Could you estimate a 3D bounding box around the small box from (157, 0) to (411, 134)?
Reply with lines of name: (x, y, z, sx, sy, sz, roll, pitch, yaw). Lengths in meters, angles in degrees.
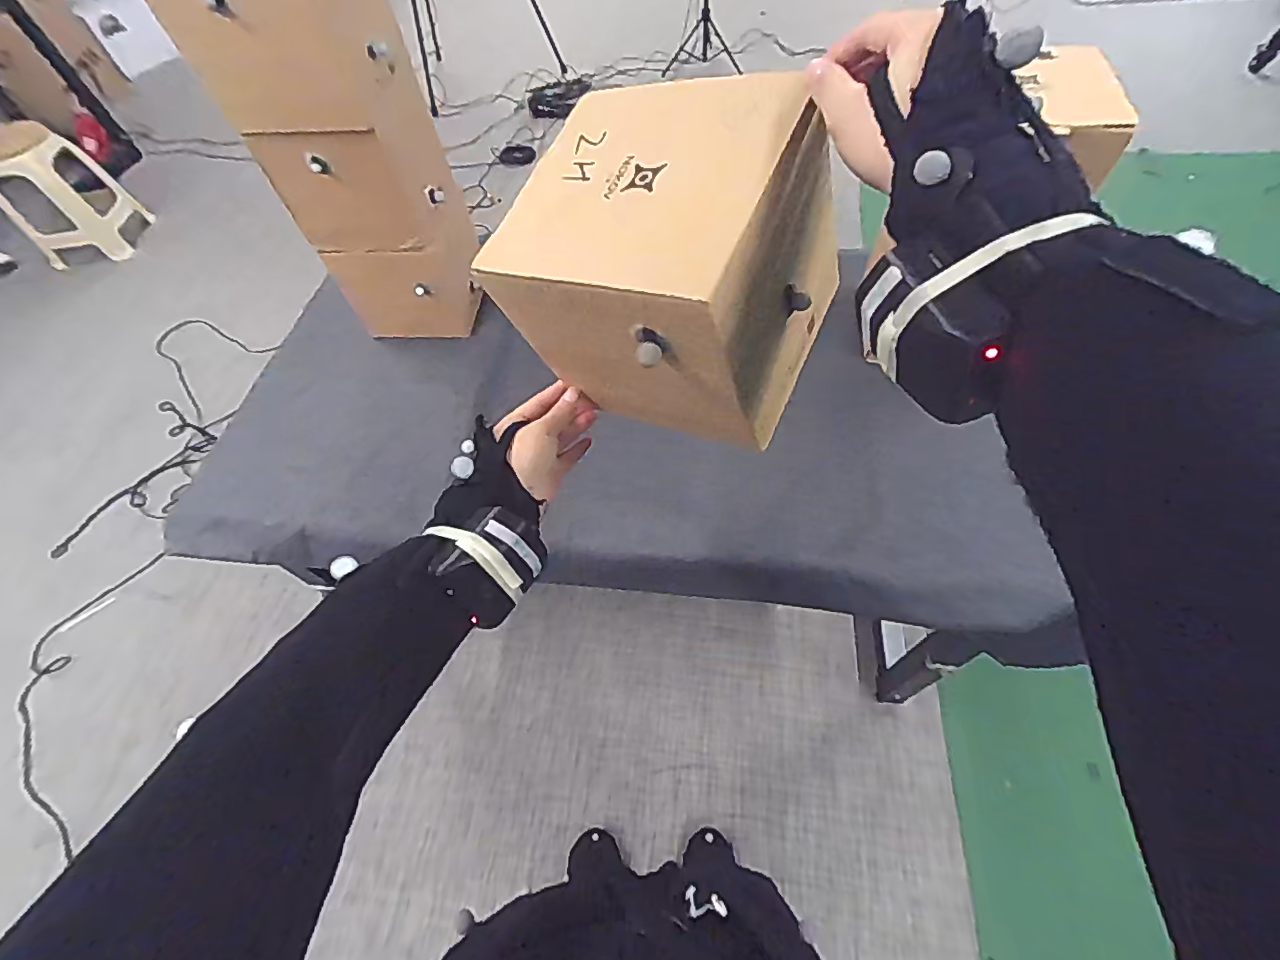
small box: (-0.392, -0.513, 0.603, 0.179, 0.176, 0.168, 3, 60, 5)

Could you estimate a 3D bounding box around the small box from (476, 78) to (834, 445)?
small box: (0.028, -0.145, 0.392, 0.179, 0.176, 0.168, 19, 73, 30)

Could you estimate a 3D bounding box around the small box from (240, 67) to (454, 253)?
small box: (-0.384, -0.435, 0.747, 0.179, 0.176, 0.168, 1, 60, 4)

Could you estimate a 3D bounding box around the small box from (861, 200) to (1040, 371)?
small box: (0.423, -0.282, 0.773, 0.168, 0.176, 0.179, 6, 60, 9)

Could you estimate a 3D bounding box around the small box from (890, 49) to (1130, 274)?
small box: (0.406, -0.364, 0.632, 0.168, 0.176, 0.179, 6, 60, 9)
